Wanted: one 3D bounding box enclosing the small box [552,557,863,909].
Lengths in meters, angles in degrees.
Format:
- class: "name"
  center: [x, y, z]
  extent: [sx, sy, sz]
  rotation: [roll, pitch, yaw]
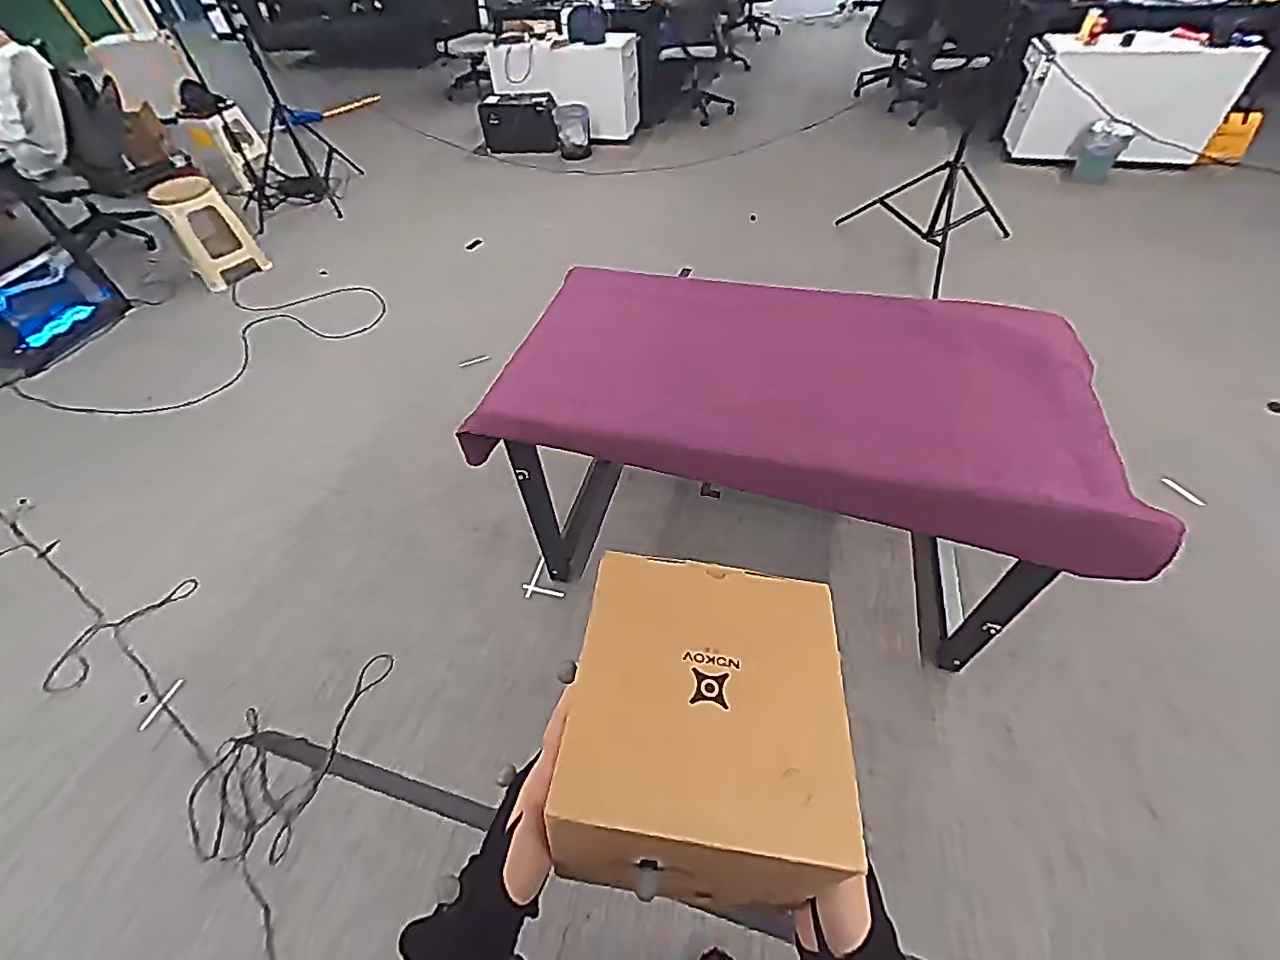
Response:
- class: "small box"
  center: [0.040, 0.184, 0.394]
  extent: [0.168, 0.176, 0.179]
  rotation: [8, 44, 2]
